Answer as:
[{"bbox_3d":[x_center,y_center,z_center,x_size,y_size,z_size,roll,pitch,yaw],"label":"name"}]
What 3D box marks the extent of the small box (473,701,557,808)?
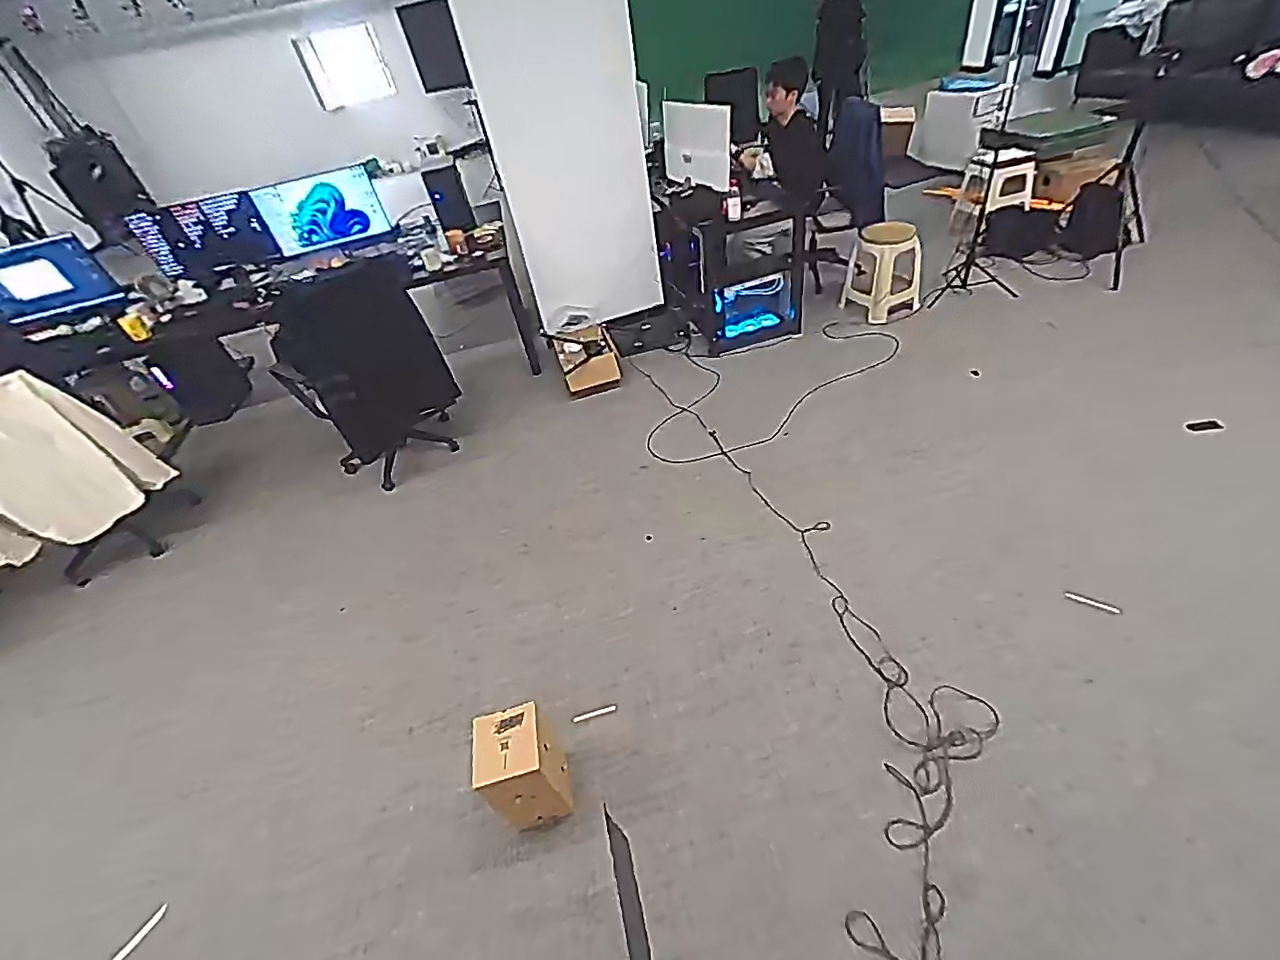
[{"bbox_3d":[-0.318,0.708,1.393,0.168,0.176,0.179,-16,42,-3],"label":"small box"}]
